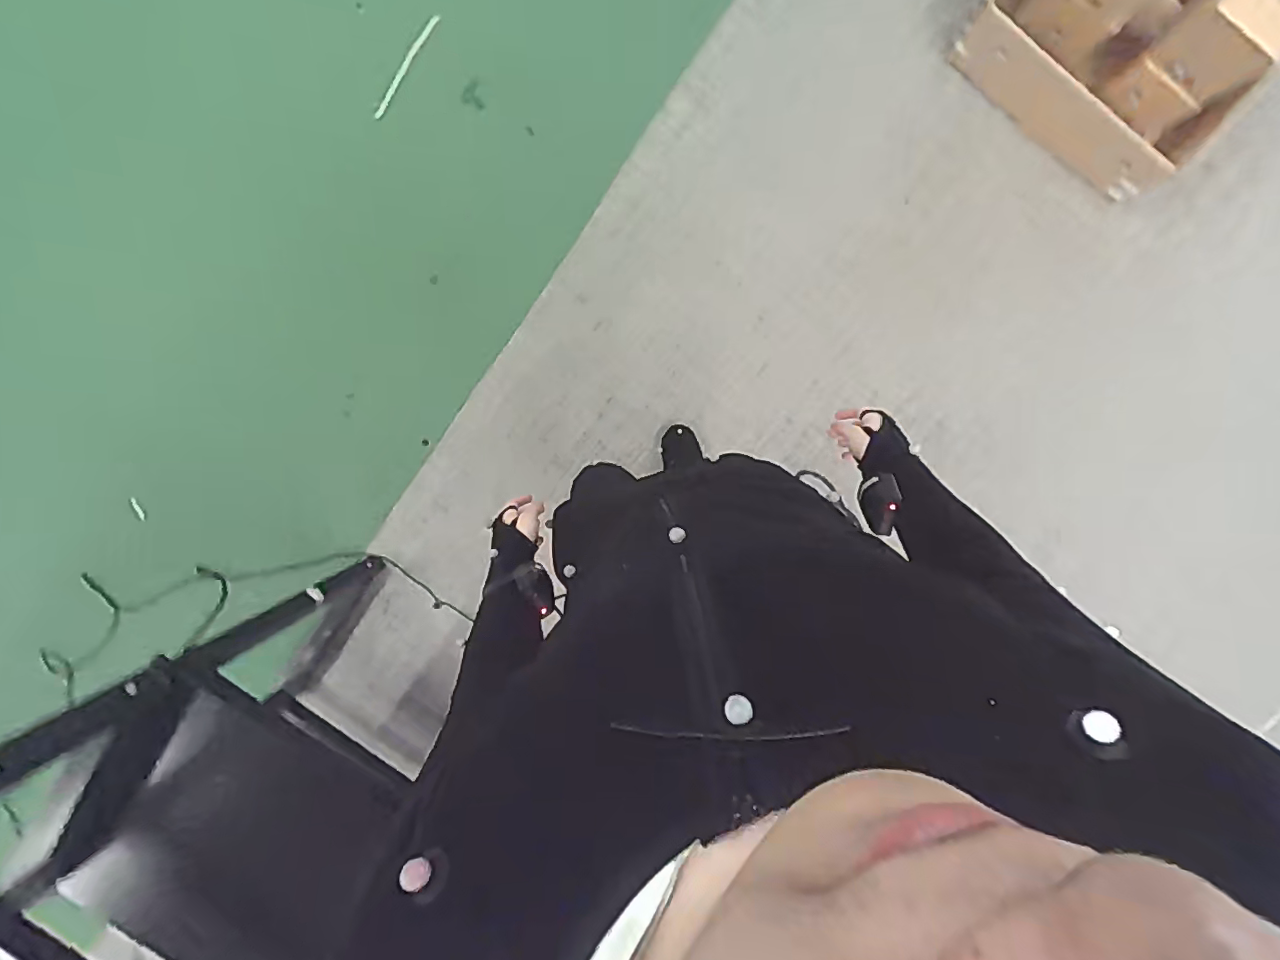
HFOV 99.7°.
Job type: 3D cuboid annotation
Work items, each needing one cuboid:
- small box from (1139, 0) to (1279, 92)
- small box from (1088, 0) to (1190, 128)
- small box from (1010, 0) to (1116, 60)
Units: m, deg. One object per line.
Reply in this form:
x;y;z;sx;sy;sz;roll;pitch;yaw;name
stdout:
1.214;-0.969;1.120;0.168;0.176;0.179;39;99;-2;small box
1.223;-0.990;1.282;0.168;0.176;0.179;37;99;-3;small box
1.016;-1.150;1.266;0.168;0.176;0.179;36;100;-5;small box
